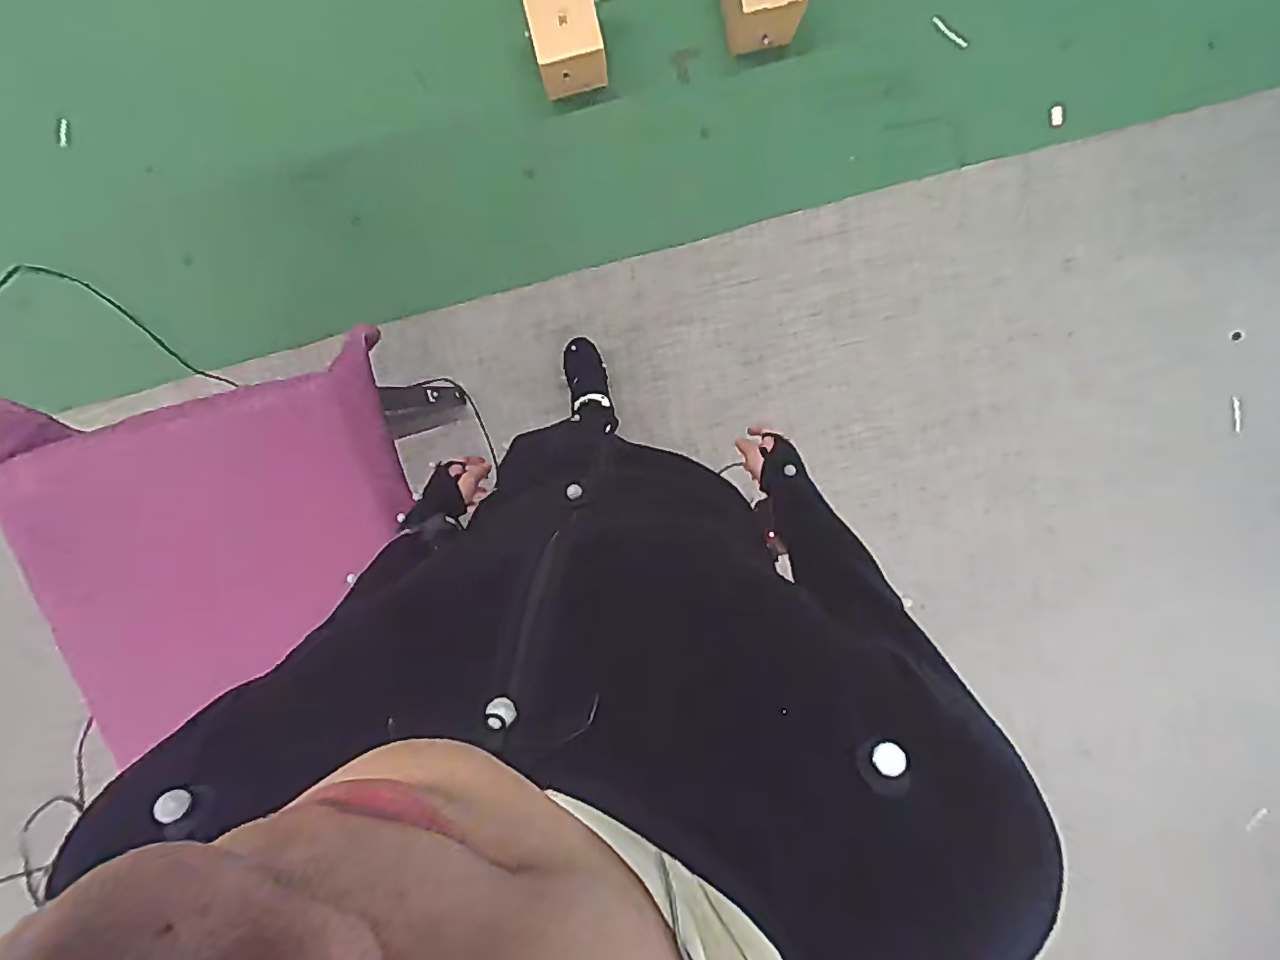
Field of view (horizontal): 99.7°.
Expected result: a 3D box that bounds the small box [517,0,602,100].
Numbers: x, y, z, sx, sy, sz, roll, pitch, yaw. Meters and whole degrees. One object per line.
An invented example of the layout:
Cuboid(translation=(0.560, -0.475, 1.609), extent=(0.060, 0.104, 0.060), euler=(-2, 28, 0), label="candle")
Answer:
Cuboid(translation=(-0.195, -1.097, 1.363), extent=(0.168, 0.176, 0.179), euler=(-14, 98, 1), label="small box")

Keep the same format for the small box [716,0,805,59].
Cuboid(translation=(0.294, -1.215, 1.356), extent=(0.168, 0.176, 0.179), euler=(-13, 99, 0), label="small box")
